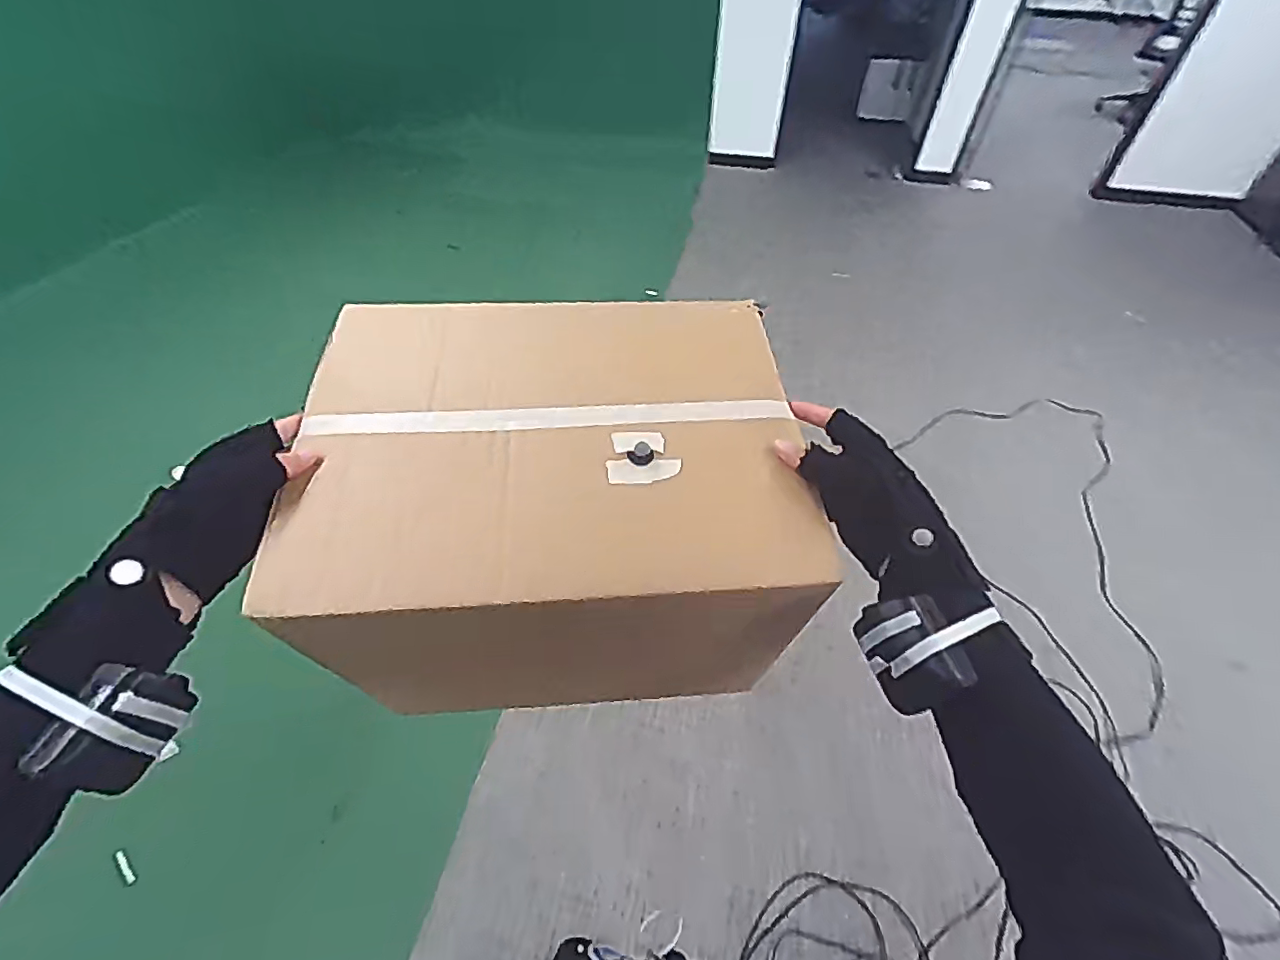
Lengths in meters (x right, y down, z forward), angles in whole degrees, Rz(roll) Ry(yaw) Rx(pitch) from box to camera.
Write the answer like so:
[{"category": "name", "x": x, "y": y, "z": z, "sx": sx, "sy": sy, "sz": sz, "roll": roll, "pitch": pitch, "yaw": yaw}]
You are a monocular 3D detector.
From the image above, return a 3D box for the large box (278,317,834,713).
[{"category": "large box", "x": -0.072, "y": 0.043, "z": 0.588, "sx": 0.408, "sy": 0.320, "sz": 0.320, "roll": -1, "pitch": 55, "yaw": -5}]
